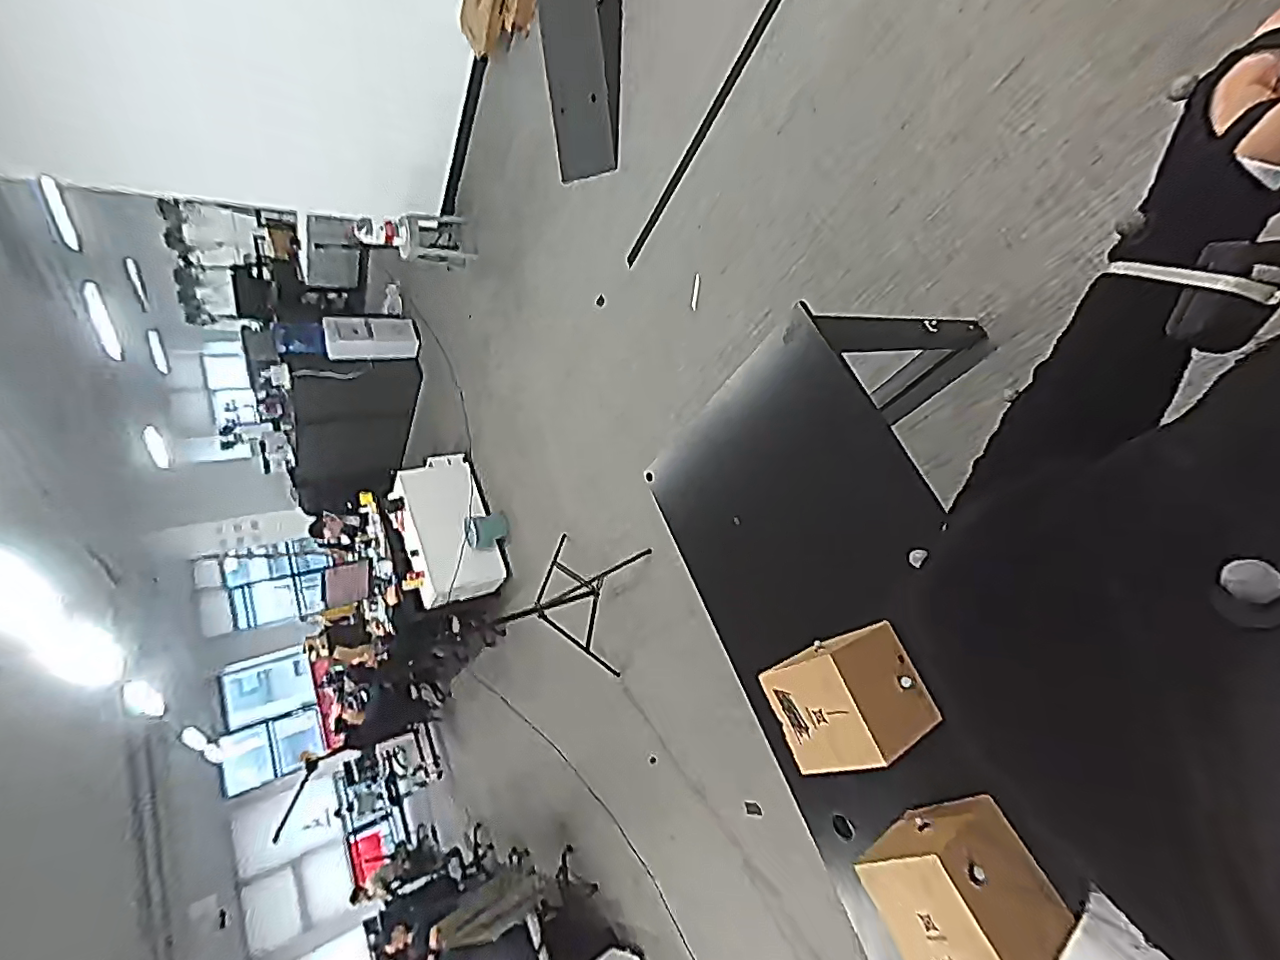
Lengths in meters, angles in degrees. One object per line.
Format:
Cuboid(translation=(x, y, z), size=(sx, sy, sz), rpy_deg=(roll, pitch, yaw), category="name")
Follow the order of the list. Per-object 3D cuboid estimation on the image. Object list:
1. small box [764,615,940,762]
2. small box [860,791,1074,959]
Cuboid(translation=(0.348, 0.344, 0.898), size=(0.179, 0.176, 0.168), rpy_deg=(-46, 63, 49), category="small box")
Cuboid(translation=(0.473, 0.584, 0.791), size=(0.179, 0.176, 0.168), rpy_deg=(60, 141, 24), category="small box")
